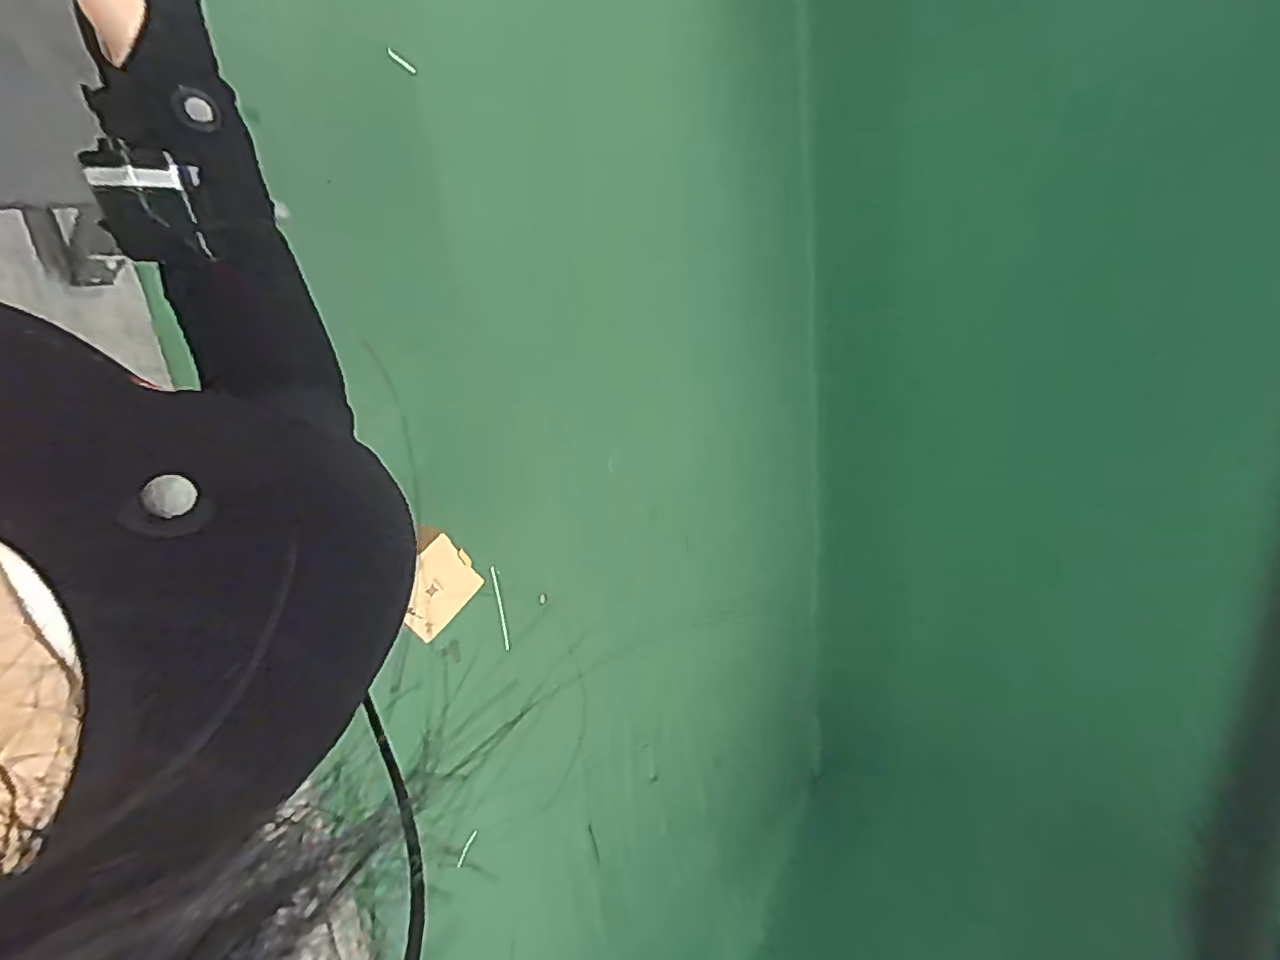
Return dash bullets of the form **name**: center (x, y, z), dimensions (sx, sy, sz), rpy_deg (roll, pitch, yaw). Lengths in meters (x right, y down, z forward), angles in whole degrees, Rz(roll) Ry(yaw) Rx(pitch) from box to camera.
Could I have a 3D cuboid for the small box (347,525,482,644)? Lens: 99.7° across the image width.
- **small box**: center (-0.489, 0.217, 1.171), dimensions (0.179, 0.176, 0.168), rpy_deg (-50, 129, -31)
